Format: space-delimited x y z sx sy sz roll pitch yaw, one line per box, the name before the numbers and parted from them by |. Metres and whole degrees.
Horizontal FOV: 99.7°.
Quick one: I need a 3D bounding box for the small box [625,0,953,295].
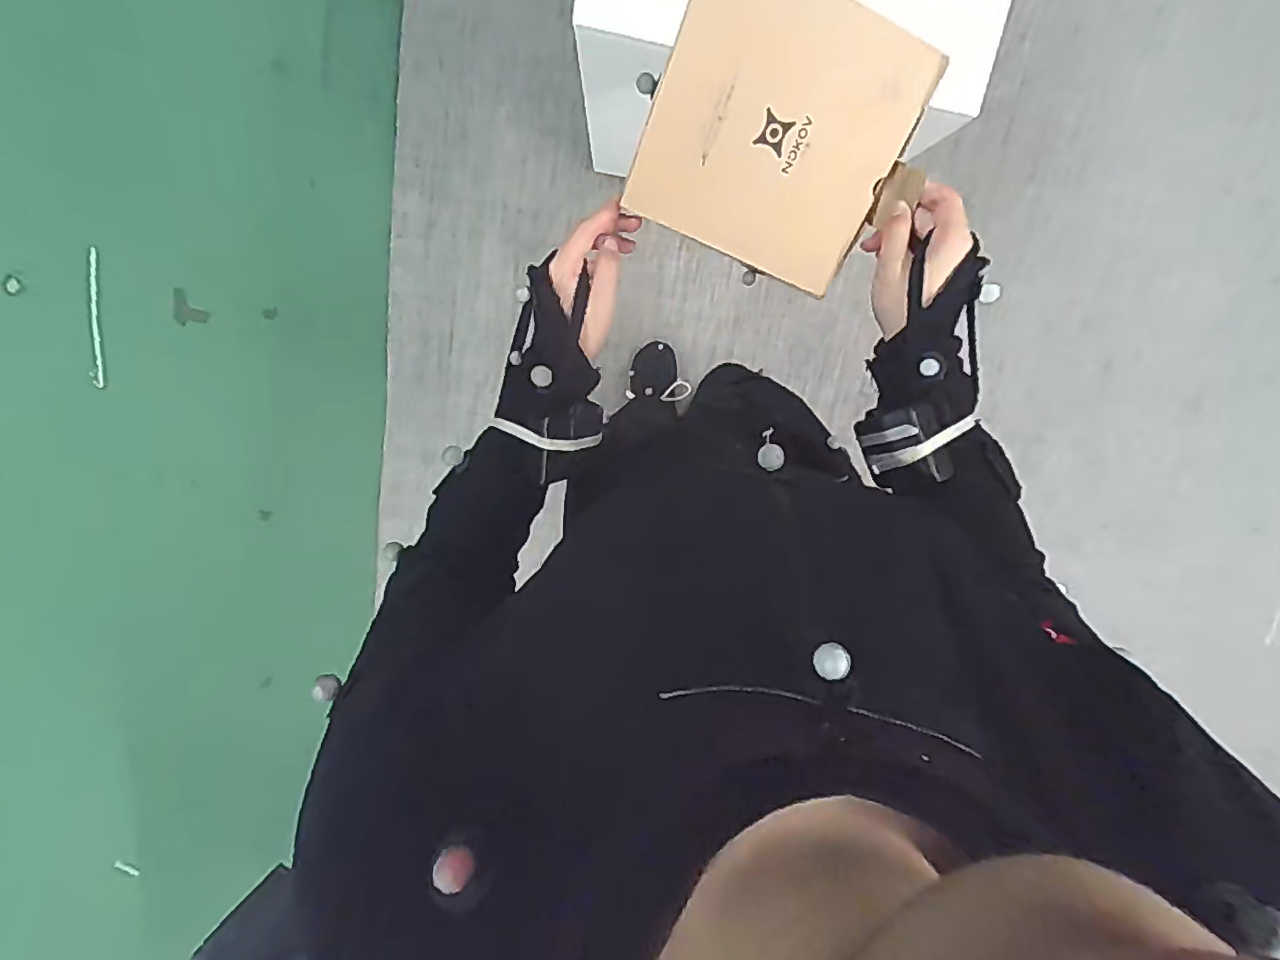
small box | 0.096 -0.273 0.442 0.179 0.176 0.168 18 114 -10
